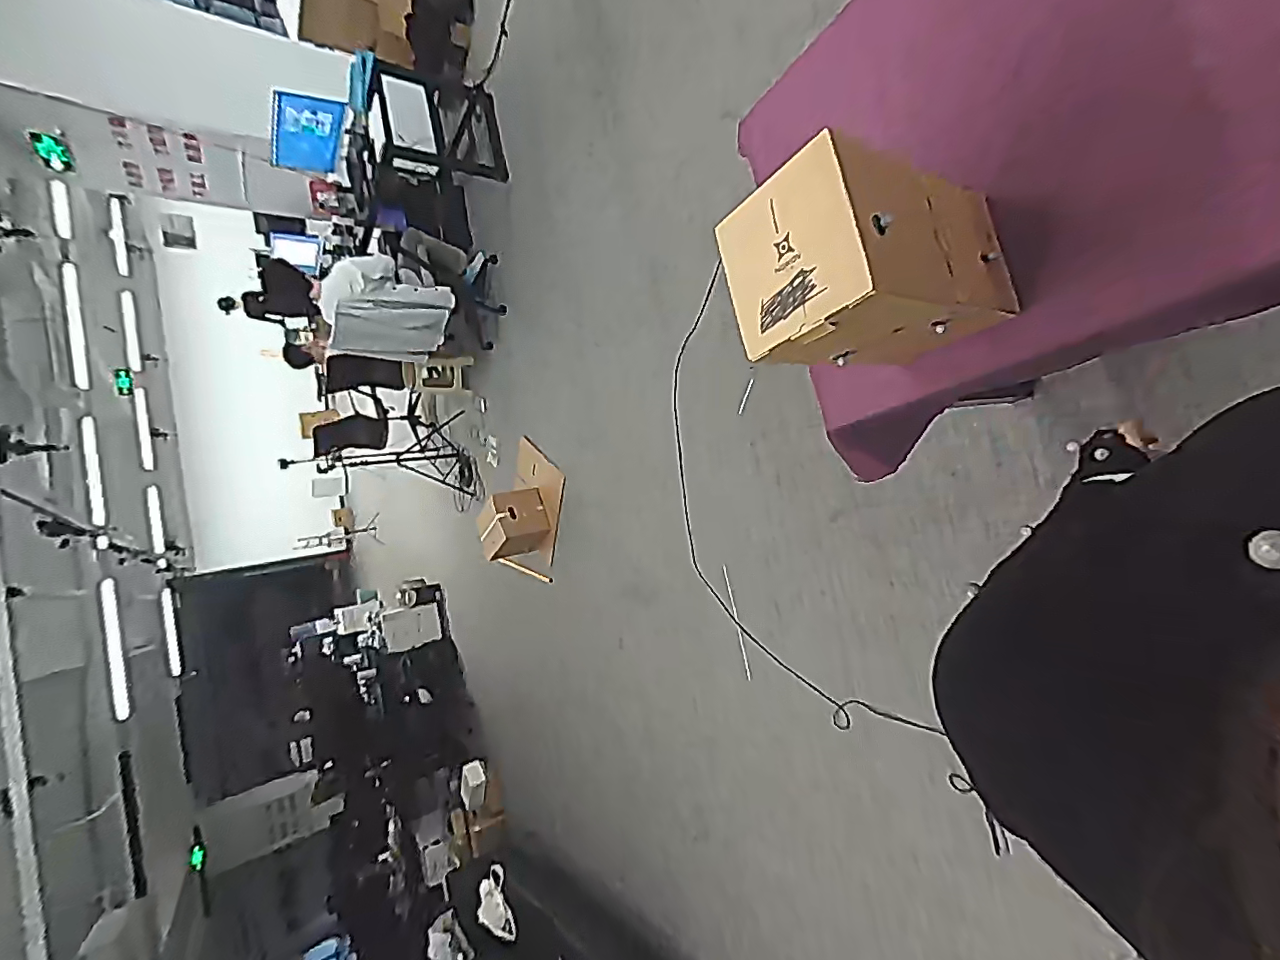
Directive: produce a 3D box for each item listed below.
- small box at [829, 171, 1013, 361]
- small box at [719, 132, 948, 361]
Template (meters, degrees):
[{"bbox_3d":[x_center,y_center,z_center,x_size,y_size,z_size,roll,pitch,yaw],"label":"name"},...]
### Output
[{"bbox_3d":[0.354,-0.266,0.725,0.179,0.176,0.168,-22,79,52],"label":"small box"},{"bbox_3d":[0.223,-0.250,0.627,0.168,0.176,0.179,-22,77,52],"label":"small box"}]
